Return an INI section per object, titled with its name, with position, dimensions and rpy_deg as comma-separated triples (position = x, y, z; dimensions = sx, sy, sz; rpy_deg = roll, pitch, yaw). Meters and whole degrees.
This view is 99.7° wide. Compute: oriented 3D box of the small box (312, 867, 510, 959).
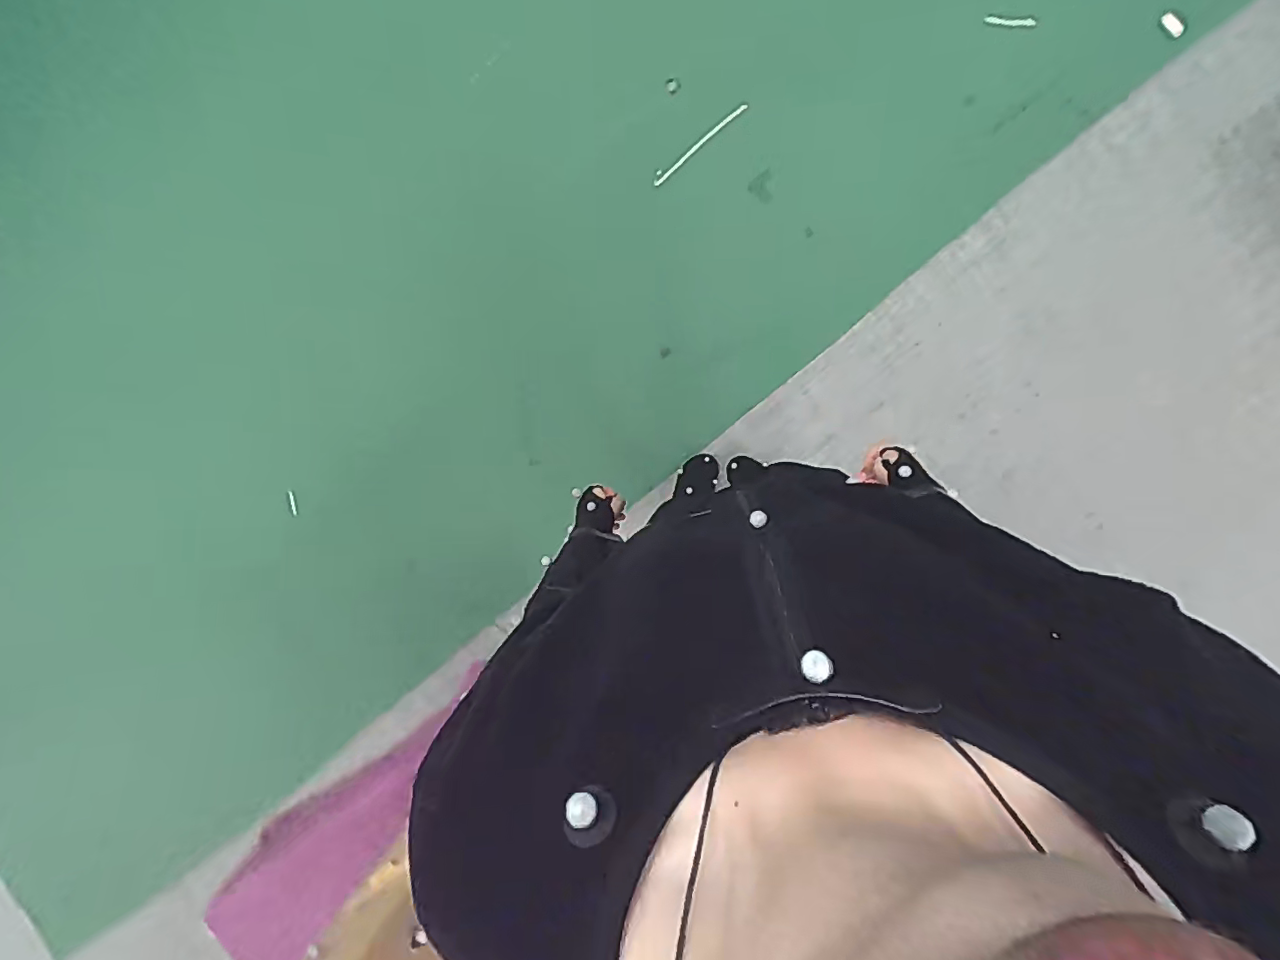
[small box]
position = -0.282, 0.592, 0.617
dimensions = 0.168, 0.176, 0.179
rpy_deg = -37, 88, 8
